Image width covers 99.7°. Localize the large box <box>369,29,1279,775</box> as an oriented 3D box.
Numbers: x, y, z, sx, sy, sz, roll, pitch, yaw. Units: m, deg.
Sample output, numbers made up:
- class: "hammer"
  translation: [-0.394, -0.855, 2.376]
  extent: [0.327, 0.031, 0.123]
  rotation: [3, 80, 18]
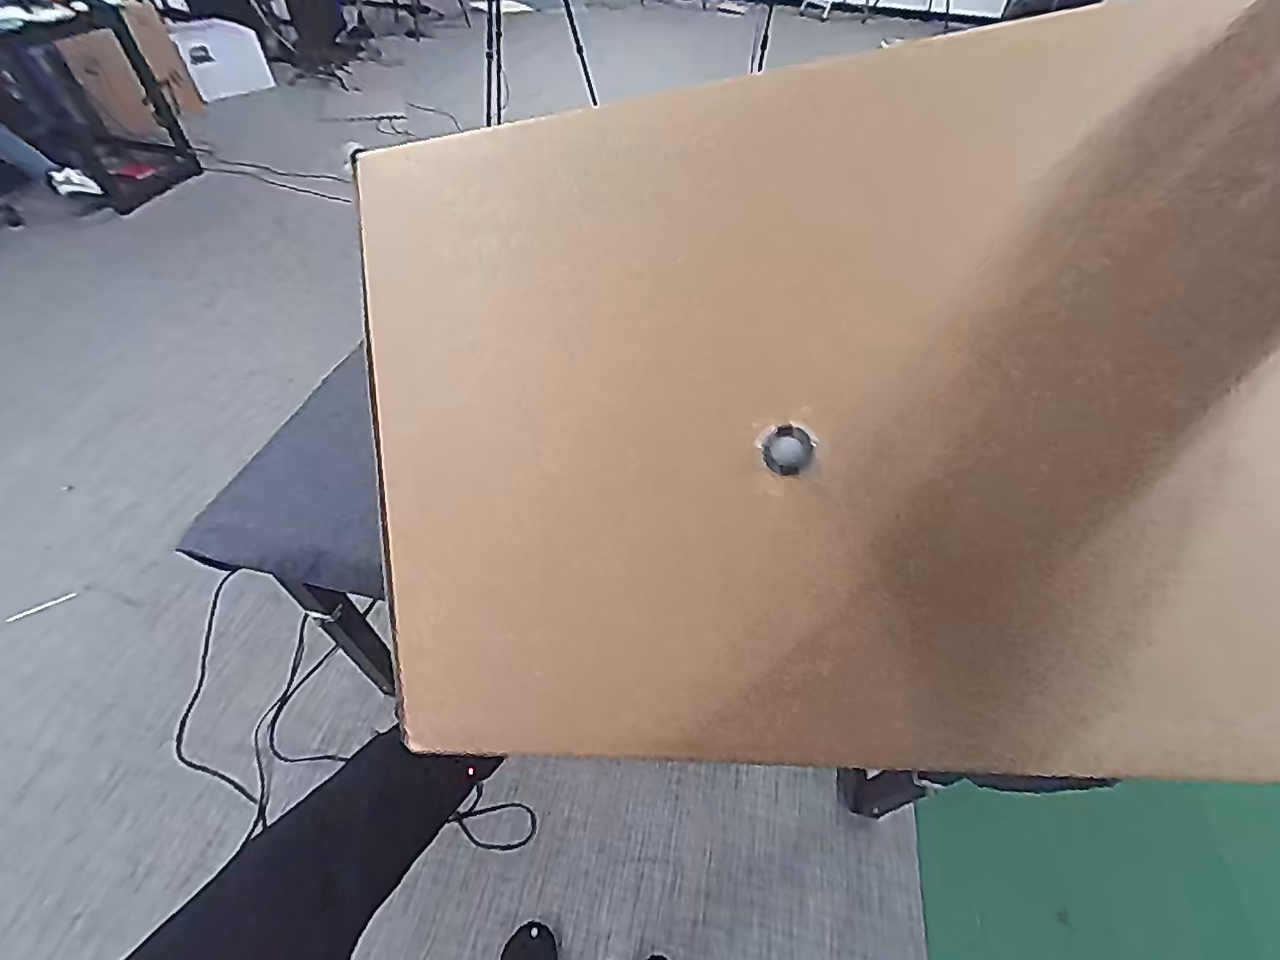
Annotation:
- class: "large box"
  translation: [0.096, -0.021, 0.398]
  extent: [0.408, 0.320, 0.320]
  rotation: [-6, 92, 9]
